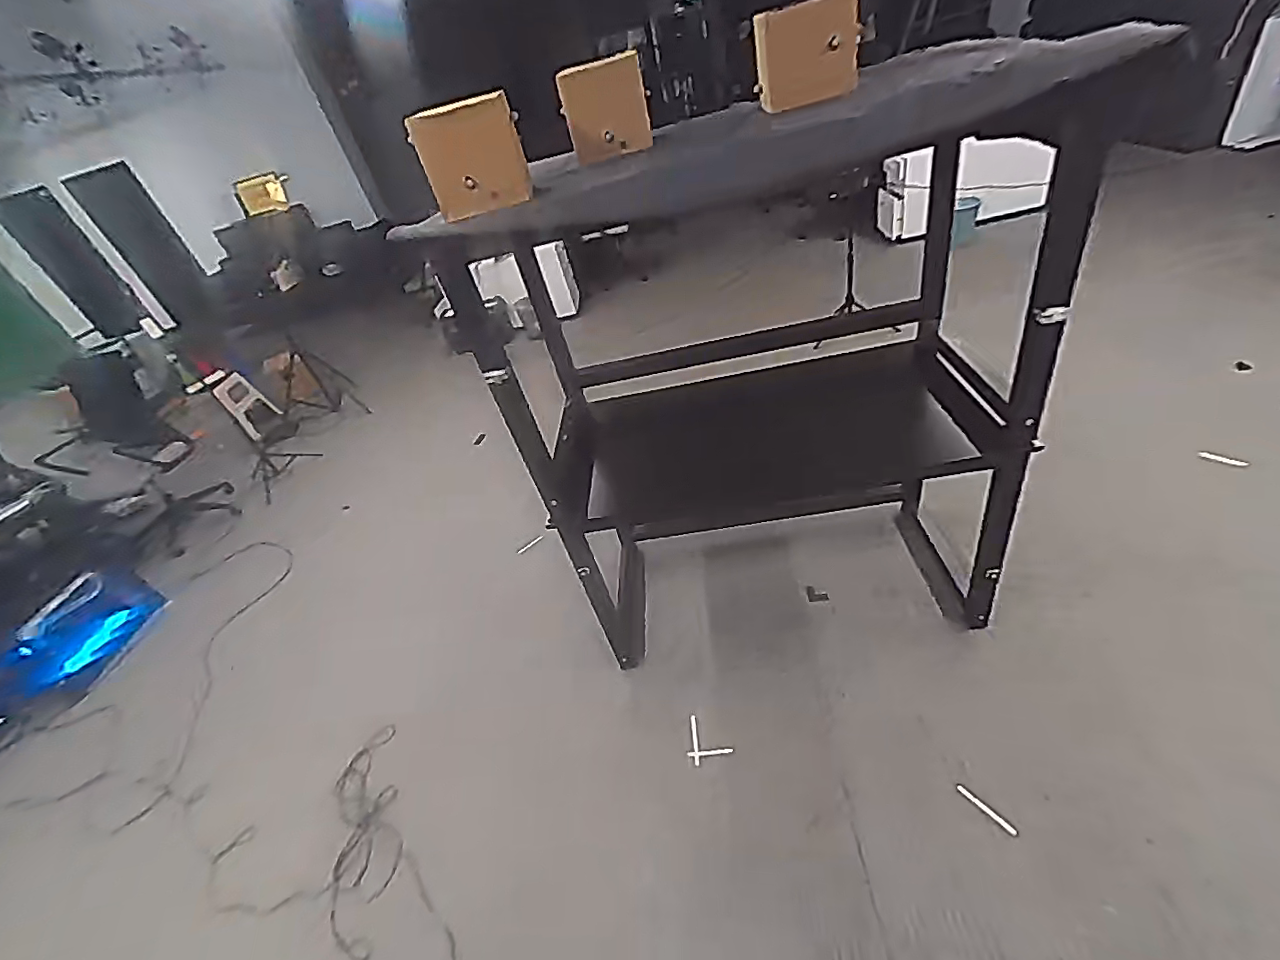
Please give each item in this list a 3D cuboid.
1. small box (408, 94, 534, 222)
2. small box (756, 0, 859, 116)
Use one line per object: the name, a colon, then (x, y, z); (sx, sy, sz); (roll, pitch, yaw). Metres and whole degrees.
small box: (-0.306, -0.605, 1.019); (0.168, 0.176, 0.179); (-15, 39, 1)
small box: (0.343, -0.883, 1.122); (0.179, 0.176, 0.168); (-8, 37, 11)
